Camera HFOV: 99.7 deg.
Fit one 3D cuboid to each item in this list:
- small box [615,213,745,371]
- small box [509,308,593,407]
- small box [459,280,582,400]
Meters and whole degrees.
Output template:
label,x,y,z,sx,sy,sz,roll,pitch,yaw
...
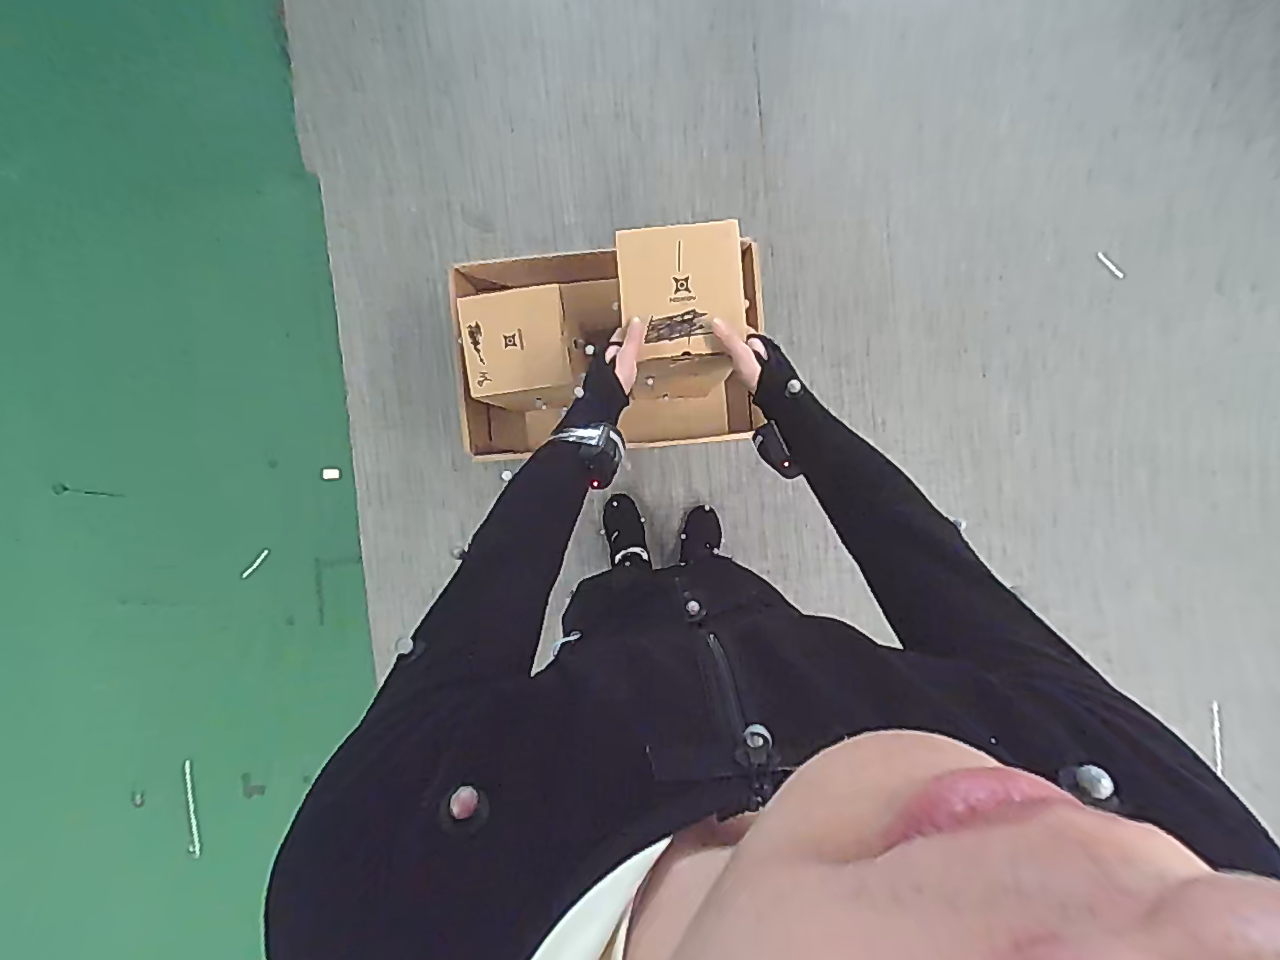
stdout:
label,x,y,z,sx,sy,sz,roll,pitch,yaw
small box,0.056,-0.259,0.788,0.168,0.176,0.179,-4,91,2
small box,-0.197,-0.246,1.124,0.179,0.176,0.168,-5,92,0
small box,-0.200,-0.239,0.960,0.179,0.176,0.168,-7,92,1
